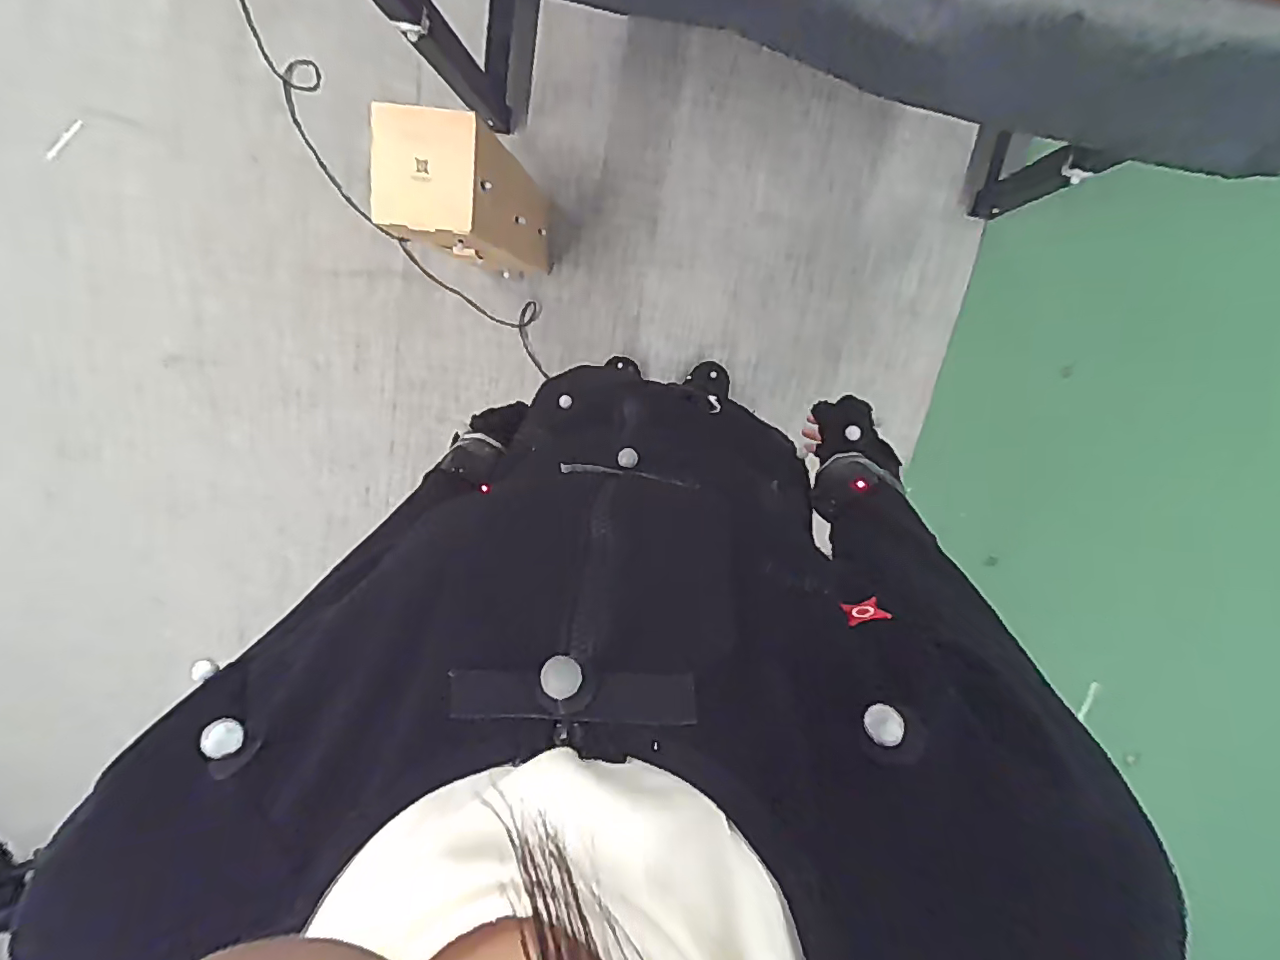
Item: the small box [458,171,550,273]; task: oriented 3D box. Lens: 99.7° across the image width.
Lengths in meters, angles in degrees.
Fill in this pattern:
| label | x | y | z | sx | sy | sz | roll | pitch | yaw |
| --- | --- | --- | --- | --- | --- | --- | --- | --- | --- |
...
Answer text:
| label | x | y | z | sx | sy | sz | roll | pitch | yaw |
| --- | --- | --- | --- | --- | --- | --- | --- | --- | --- |
| small box | -0.305 | -0.581 | 1.235 | 0.168 | 0.176 | 0.179 | 4 | 105 | 3 |
